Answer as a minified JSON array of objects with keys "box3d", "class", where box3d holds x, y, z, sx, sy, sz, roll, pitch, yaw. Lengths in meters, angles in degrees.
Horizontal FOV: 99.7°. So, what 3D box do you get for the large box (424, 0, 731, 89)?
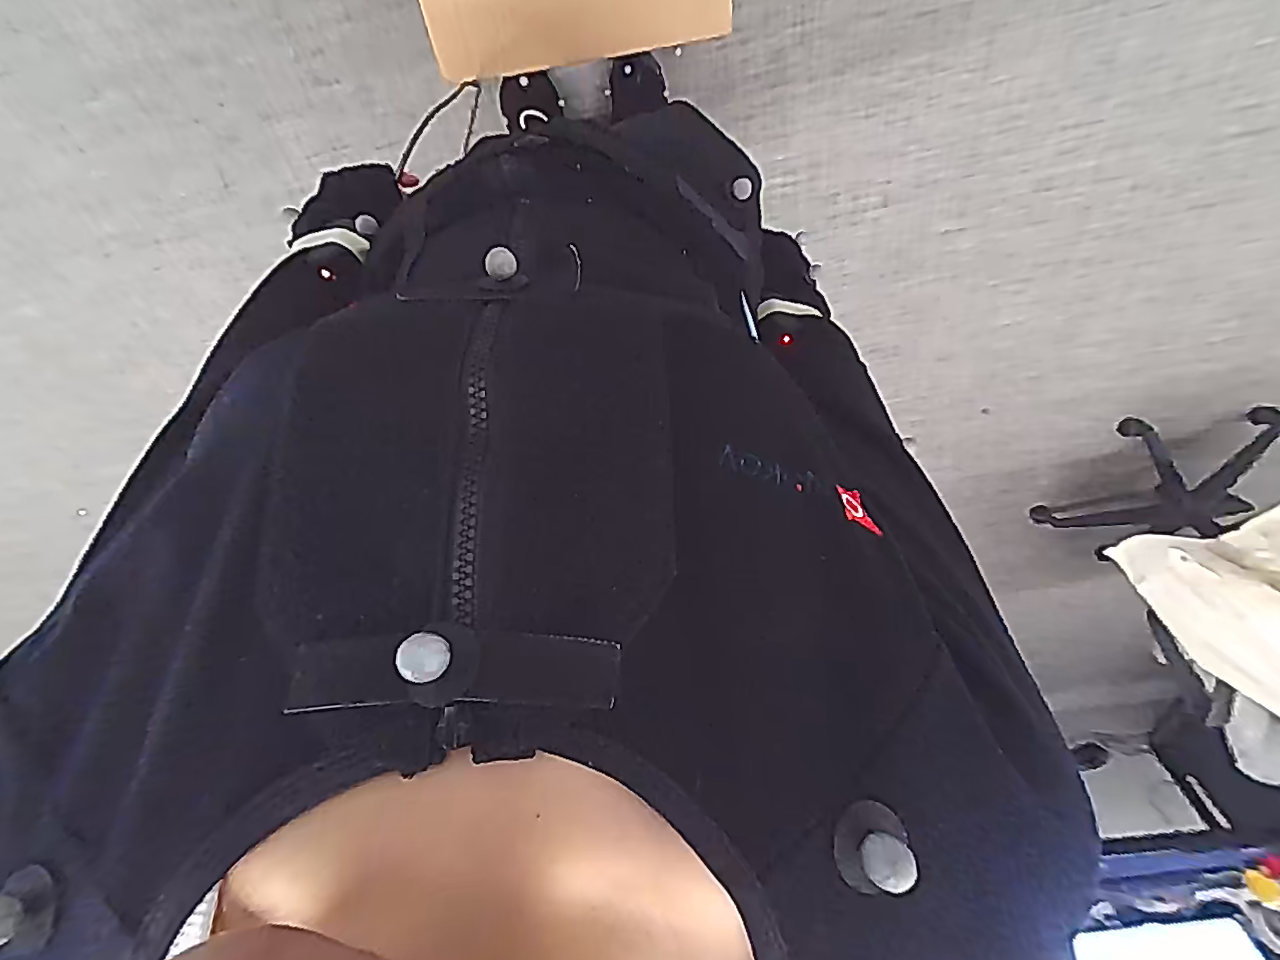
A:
[{"box3d":[-0.099,-0.792,0.760,0.408,0.320,0.320,-8,131,3],"class":"large box"}]
